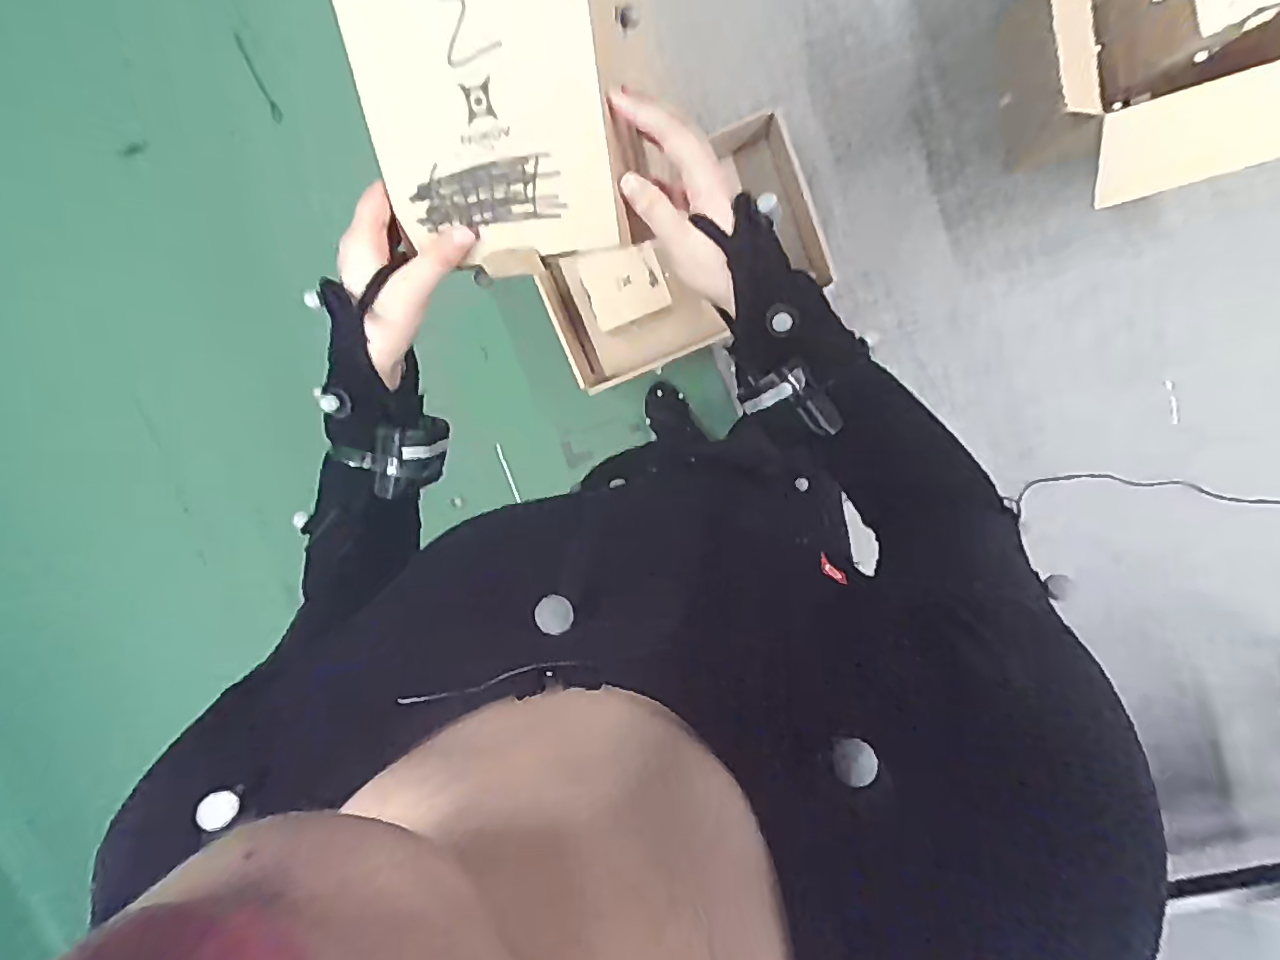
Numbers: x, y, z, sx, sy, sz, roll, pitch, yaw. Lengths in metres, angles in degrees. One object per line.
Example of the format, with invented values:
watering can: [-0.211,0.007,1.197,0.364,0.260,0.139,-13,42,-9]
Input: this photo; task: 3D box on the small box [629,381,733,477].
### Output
small box: [0.106,-0.124,1.347,0.176,0.168,0.179,28,80,-29]

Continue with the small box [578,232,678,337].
small box: [-0.020,-0.447,1.266,0.179,0.176,0.168,-21,97,10]

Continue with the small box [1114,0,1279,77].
small box: [0.970,-0.856,0.930,0.168,0.176,0.179,-21,98,13]
